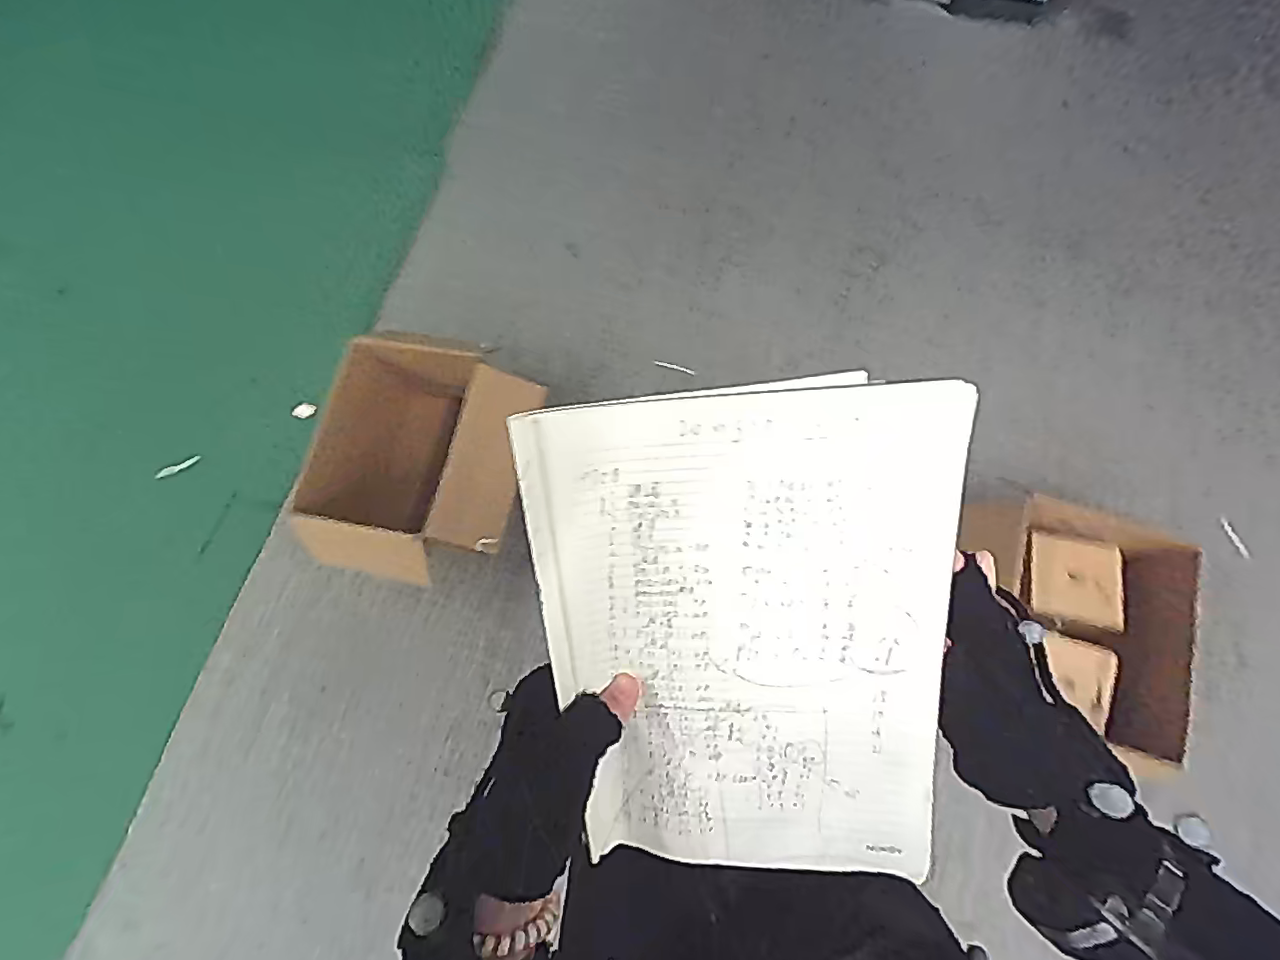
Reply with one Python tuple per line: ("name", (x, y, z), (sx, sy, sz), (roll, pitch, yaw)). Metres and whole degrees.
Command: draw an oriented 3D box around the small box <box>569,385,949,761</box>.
("small box", (0.070, 0.046, 0.366), (0.179, 0.176, 0.168), (-17, 108, 6))
